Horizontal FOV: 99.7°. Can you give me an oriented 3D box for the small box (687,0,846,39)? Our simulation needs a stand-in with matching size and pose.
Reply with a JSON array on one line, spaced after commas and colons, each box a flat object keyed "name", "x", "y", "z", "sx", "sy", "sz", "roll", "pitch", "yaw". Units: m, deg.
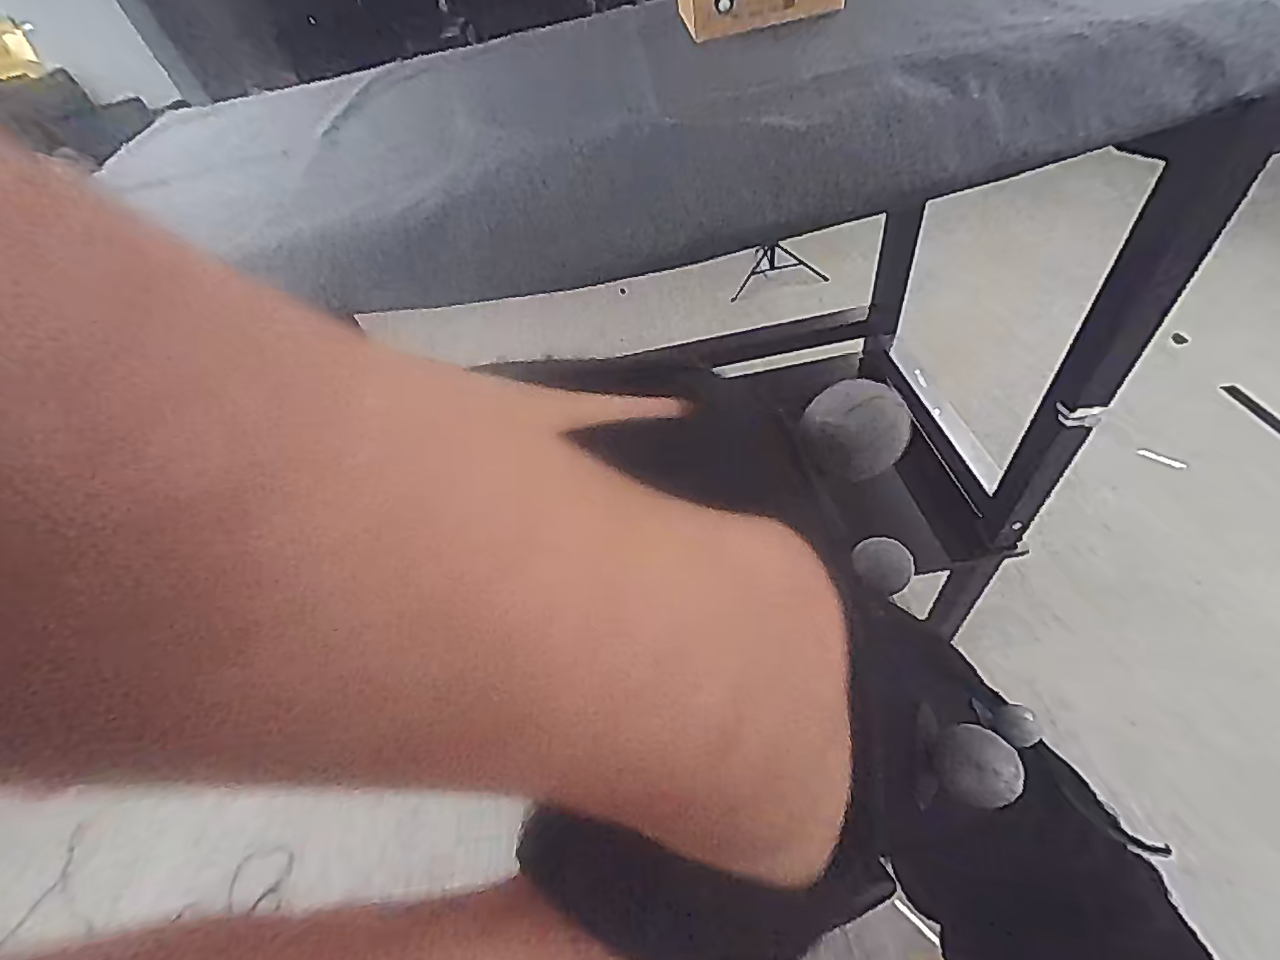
[{"name": "small box", "x": 0.133, "y": -0.616, "z": 0.596, "sx": 0.168, "sy": 0.176, "sz": 0.179, "roll": -8, "pitch": 49, "yaw": 5}]
